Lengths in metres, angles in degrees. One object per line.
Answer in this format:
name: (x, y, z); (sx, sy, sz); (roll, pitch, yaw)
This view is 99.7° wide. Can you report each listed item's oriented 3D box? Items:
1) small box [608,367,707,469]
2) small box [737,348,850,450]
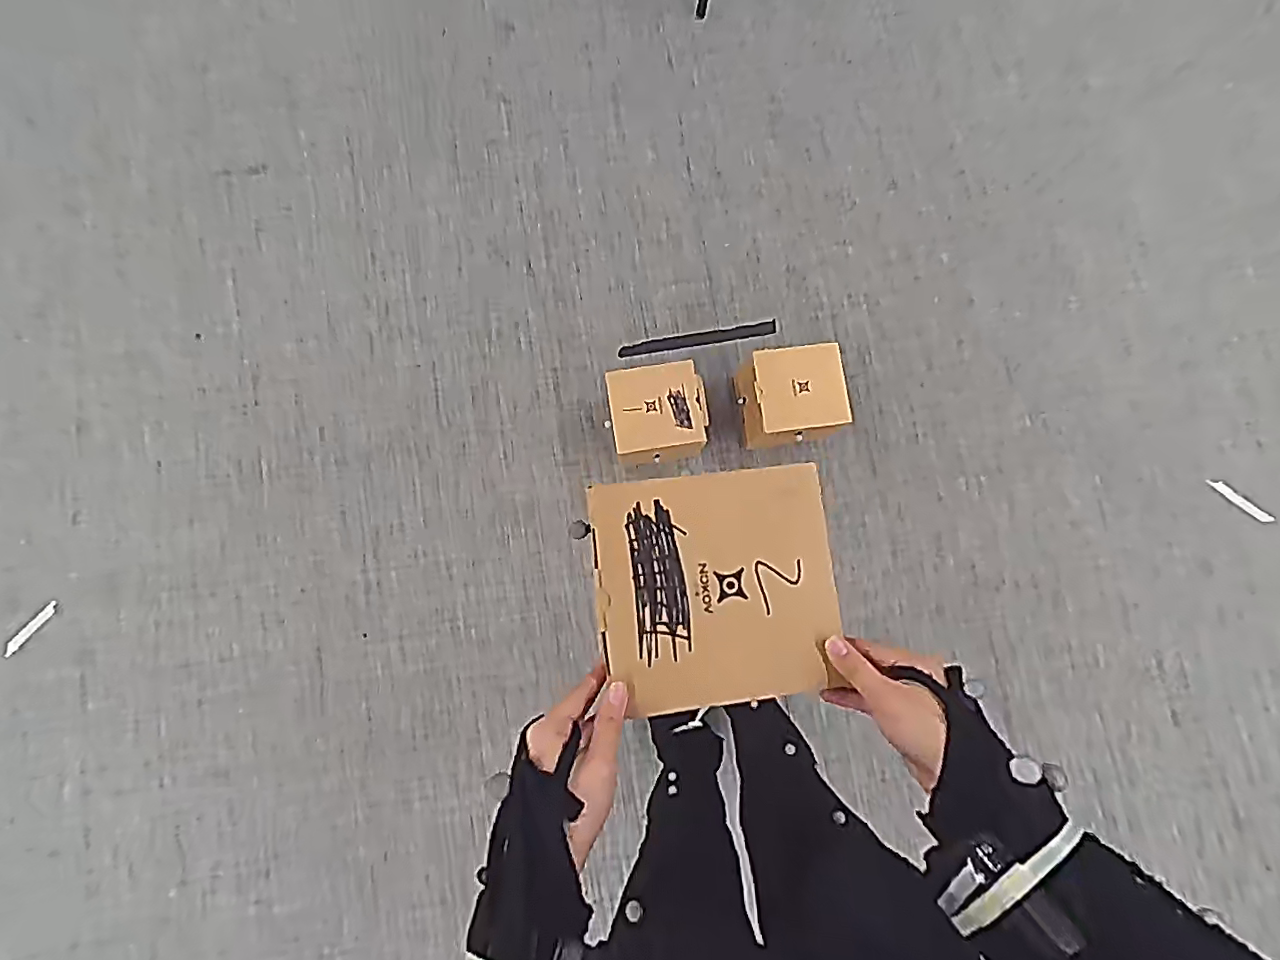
small box: (0.032, -0.122, 1.125); (0.179, 0.176, 0.168); (-8, 83, -1)
small box: (0.313, -0.162, 1.135); (0.179, 0.176, 0.168); (-7, 83, -1)
